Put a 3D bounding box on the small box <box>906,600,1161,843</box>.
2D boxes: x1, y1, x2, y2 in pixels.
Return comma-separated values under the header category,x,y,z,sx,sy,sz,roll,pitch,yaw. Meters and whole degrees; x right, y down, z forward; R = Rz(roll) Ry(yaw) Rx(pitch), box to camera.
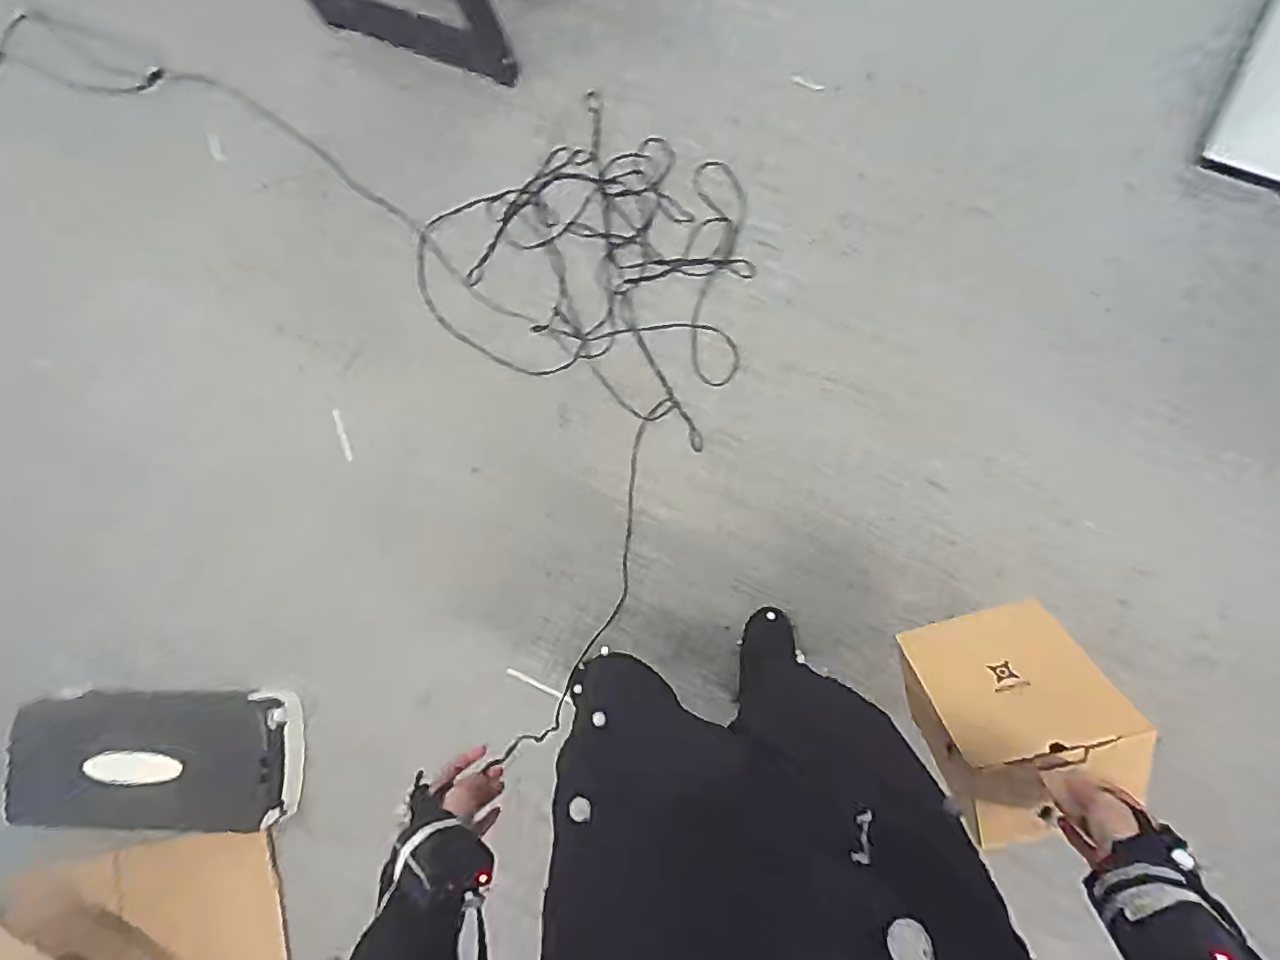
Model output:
category,x,y,z,sx,sy,sz,roll,pitch,yaw
small box,0.429,0.275,0.622,0.168,0.179,0.176,-18,121,9
